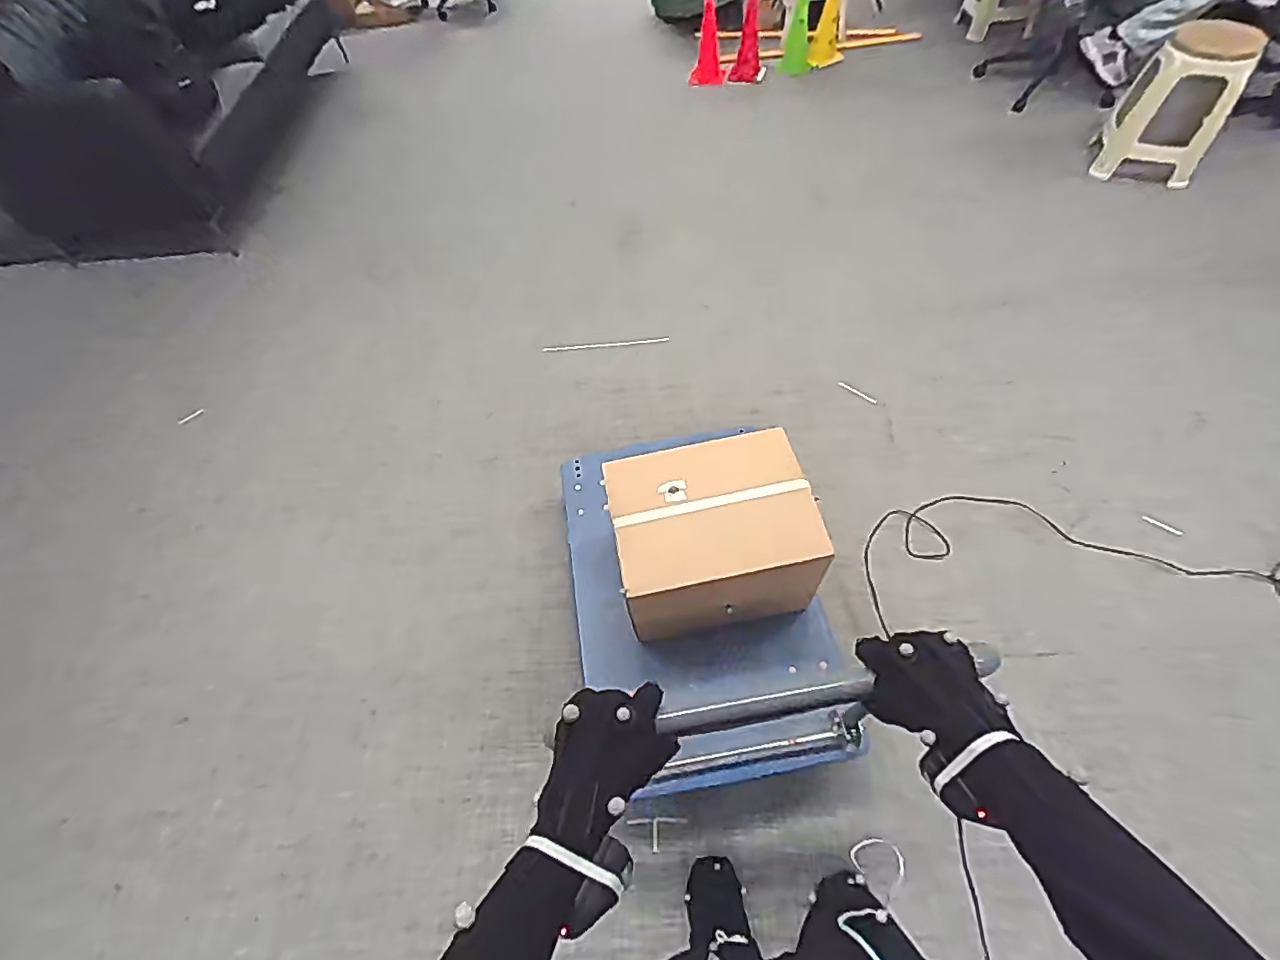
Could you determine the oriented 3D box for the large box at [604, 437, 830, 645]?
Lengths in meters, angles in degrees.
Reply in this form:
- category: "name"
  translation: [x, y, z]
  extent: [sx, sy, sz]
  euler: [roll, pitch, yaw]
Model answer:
- category: "large box"
  translation: [0.159, 0.149, 1.229]
  extent: [0.408, 0.320, 0.320]
  euler: [-12, 57, 0]
